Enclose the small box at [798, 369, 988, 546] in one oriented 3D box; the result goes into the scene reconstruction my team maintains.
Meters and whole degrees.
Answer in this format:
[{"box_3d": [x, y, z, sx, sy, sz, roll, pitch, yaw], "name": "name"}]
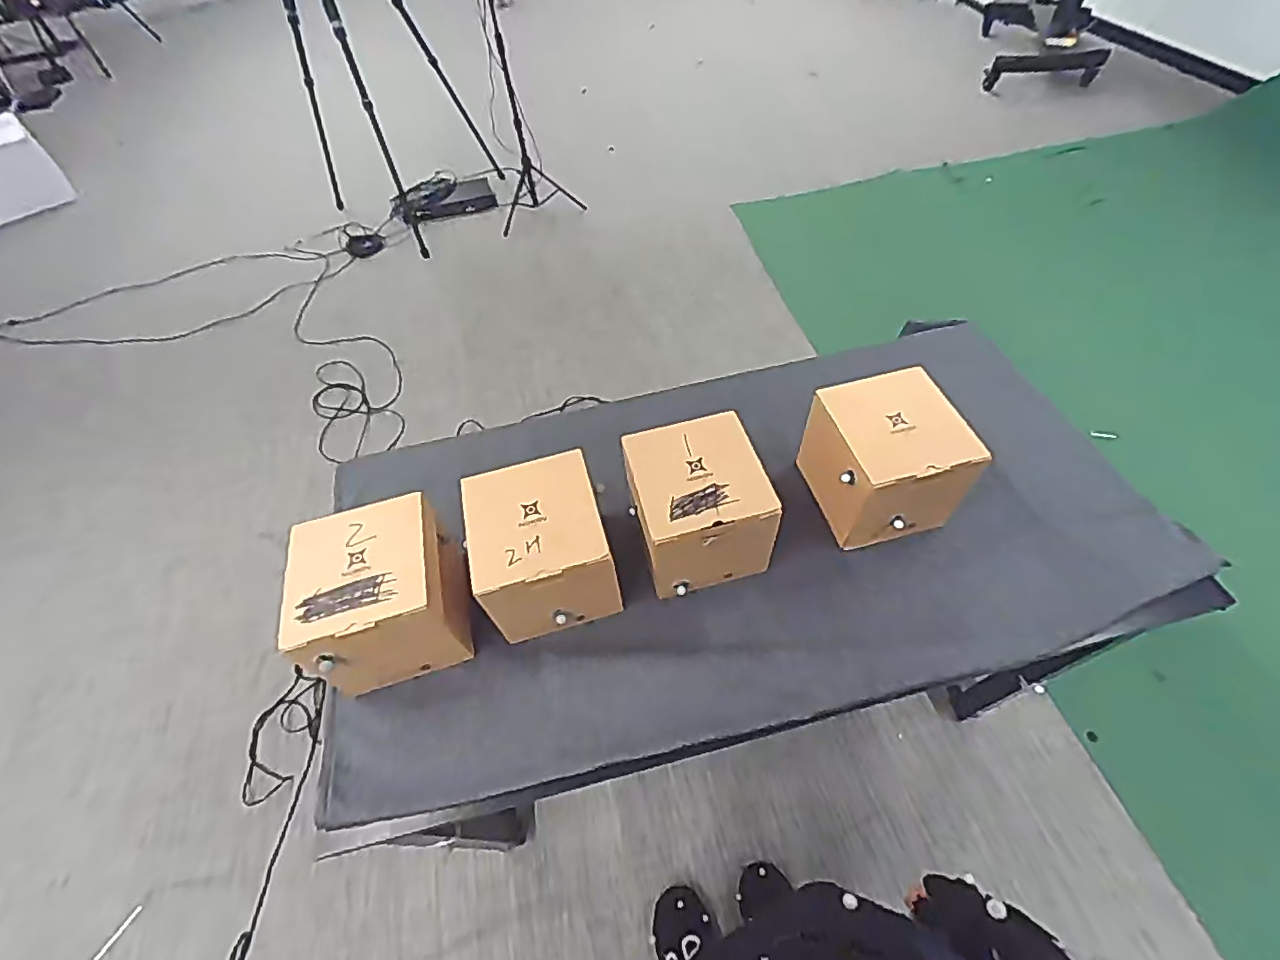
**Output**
[{"box_3d": [0.349, -0.030, 0.792, 0.168, 0.176, 0.179, -14, 55, -5], "name": "small box"}]
